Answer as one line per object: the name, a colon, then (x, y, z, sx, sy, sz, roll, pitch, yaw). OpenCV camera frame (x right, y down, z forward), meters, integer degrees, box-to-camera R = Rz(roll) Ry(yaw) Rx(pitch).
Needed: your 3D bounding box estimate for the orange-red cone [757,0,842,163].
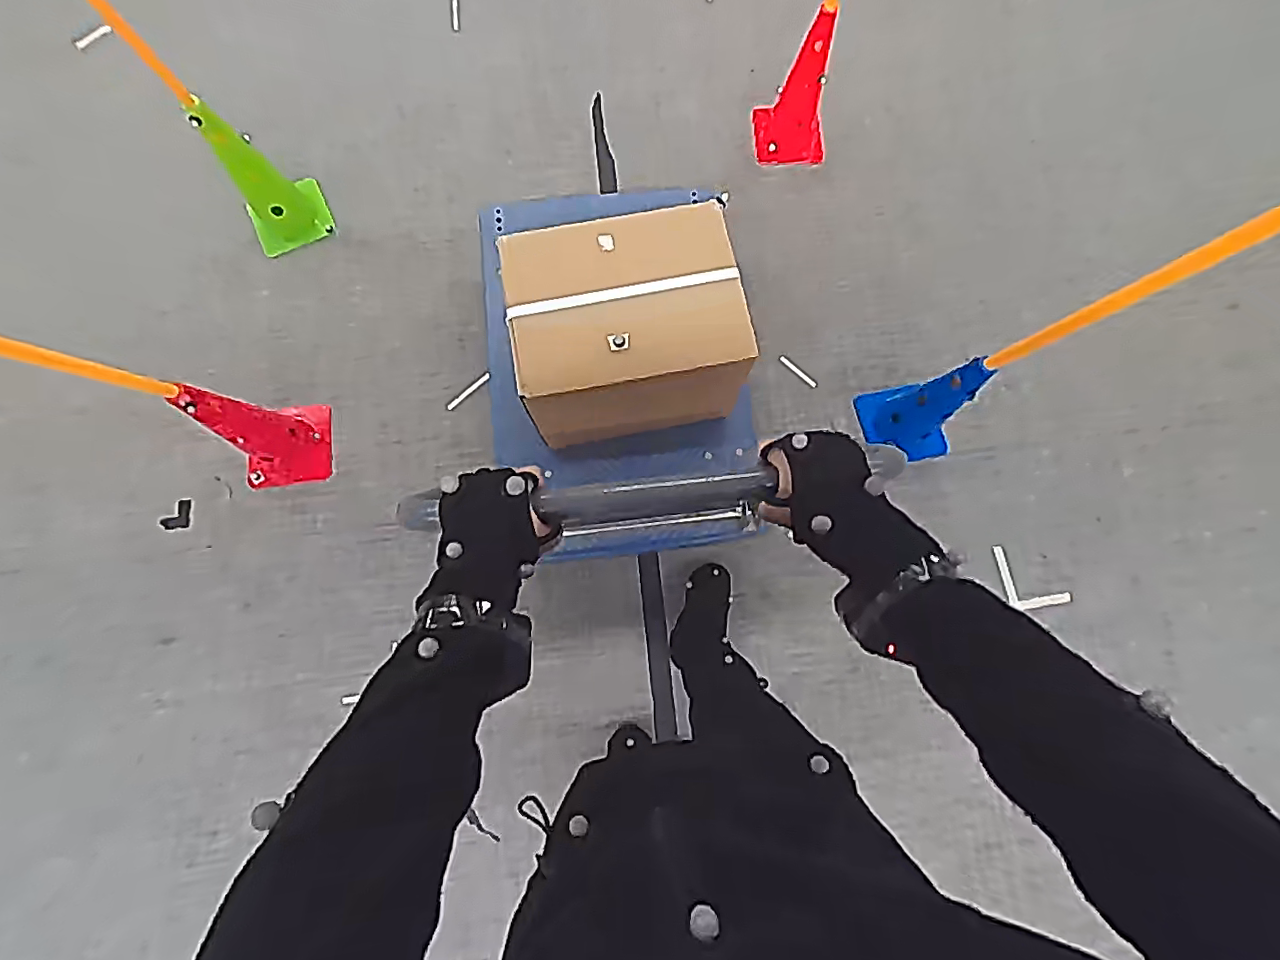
orange-red cone: (0.444, -1.050, 1.412, 0.199, 0.360, 0.198, 0, 77, -2)

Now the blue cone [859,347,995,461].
blue cone: (0.675, -0.188, 1.230, 0.193, 0.380, 0.192, -10, 76, -4)
